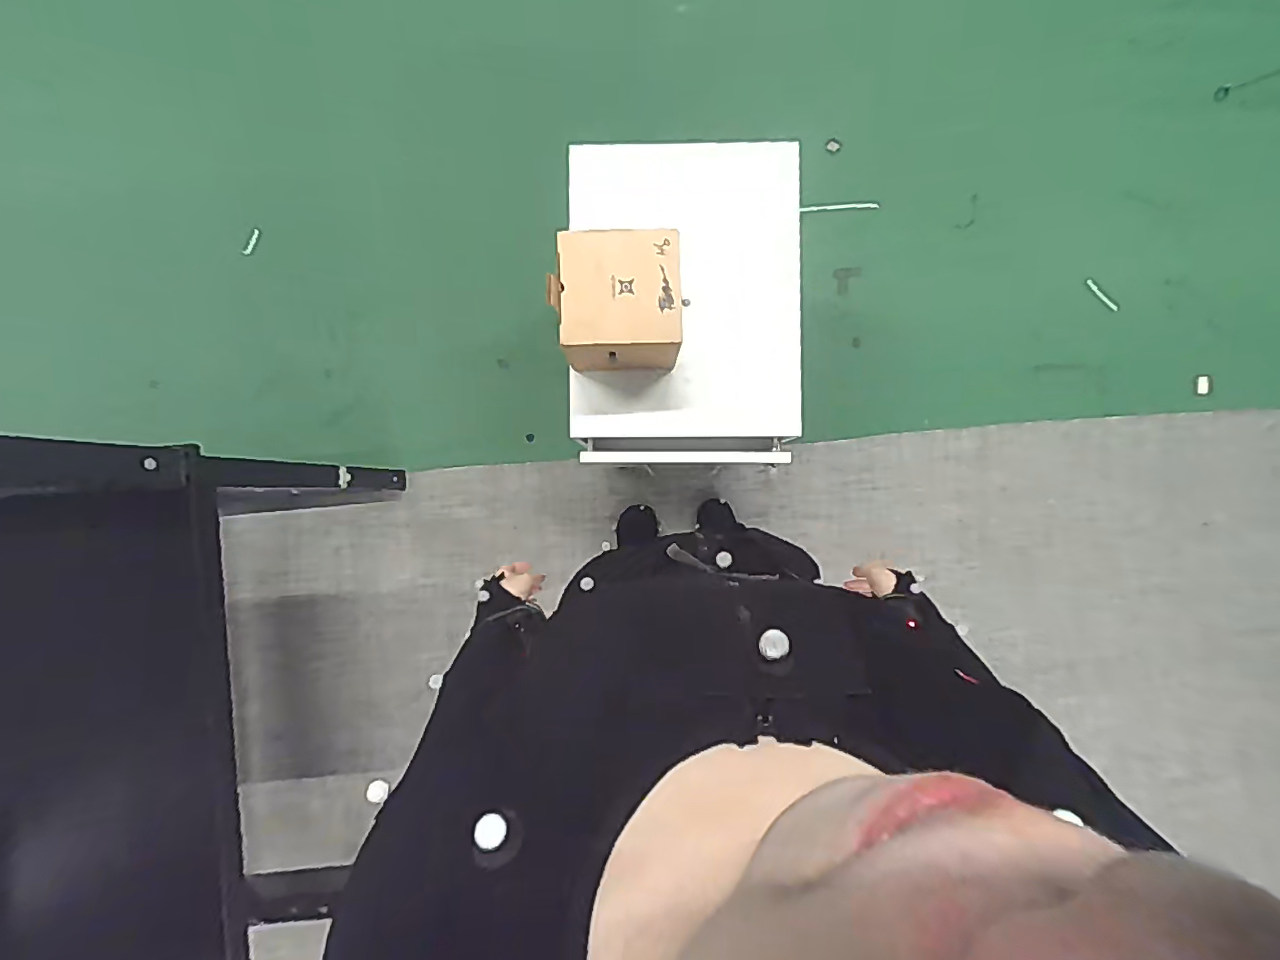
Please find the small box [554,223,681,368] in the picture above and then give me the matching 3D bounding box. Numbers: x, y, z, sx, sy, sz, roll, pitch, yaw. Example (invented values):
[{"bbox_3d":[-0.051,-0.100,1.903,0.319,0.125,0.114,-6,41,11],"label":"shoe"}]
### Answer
[{"bbox_3d":[-0.029,-0.271,0.827,0.179,0.176,0.168,-2,89,0],"label":"small box"}]
